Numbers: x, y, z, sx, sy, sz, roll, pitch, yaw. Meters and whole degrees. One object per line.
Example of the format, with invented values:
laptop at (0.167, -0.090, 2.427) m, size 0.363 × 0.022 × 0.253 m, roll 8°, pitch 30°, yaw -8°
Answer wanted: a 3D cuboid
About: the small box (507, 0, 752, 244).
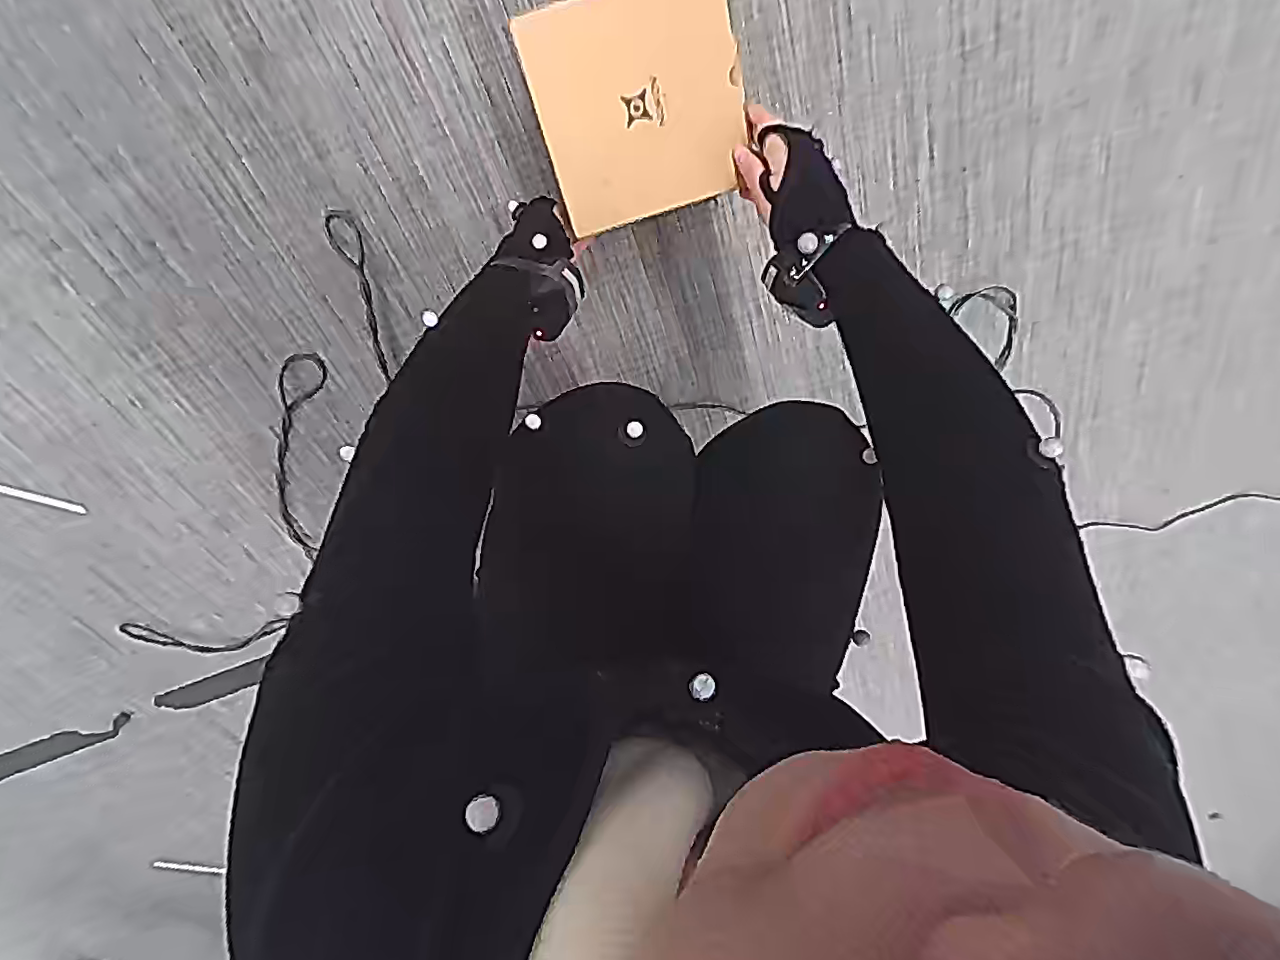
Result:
small box at (-0.008, -0.349, 0.528) m, size 0.179 × 0.176 × 0.168 m, roll -17°, pitch 121°, yaw 4°
